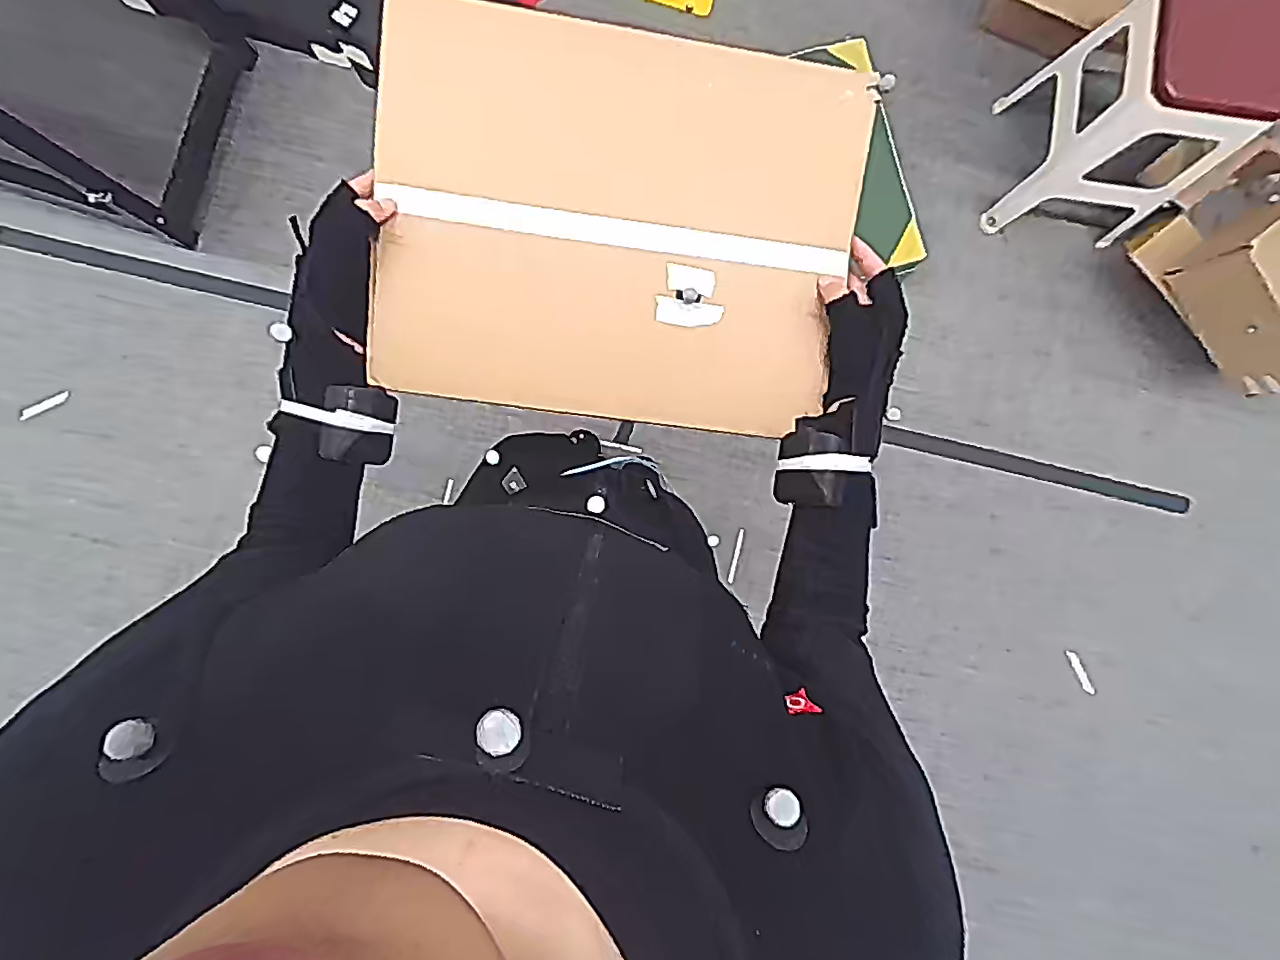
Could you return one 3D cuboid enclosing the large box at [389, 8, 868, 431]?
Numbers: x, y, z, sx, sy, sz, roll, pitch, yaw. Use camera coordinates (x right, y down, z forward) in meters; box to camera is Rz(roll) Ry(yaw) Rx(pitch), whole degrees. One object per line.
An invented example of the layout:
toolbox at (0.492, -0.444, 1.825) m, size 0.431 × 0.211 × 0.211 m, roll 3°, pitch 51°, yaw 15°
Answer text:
large box at (-0.025, -0.238, 0.622) m, size 0.408 × 0.320 × 0.320 m, roll 6°, pitch 99°, yaw -5°
